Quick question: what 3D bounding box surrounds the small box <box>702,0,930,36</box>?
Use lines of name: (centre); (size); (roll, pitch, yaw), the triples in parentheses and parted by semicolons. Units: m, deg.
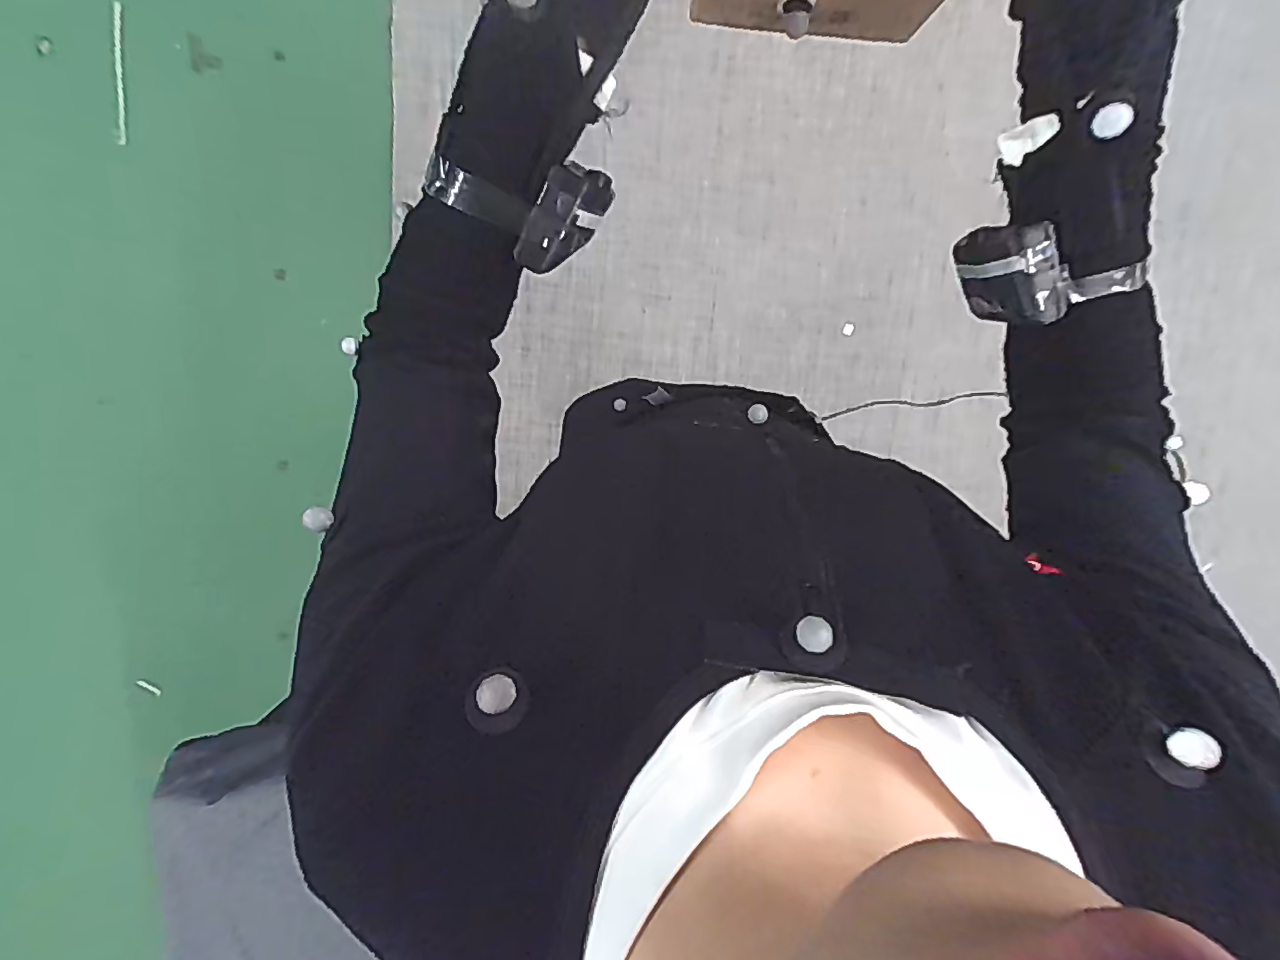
small box: (0.124, -0.398, 0.298); (0.168, 0.176, 0.179); (3, 104, -2)
